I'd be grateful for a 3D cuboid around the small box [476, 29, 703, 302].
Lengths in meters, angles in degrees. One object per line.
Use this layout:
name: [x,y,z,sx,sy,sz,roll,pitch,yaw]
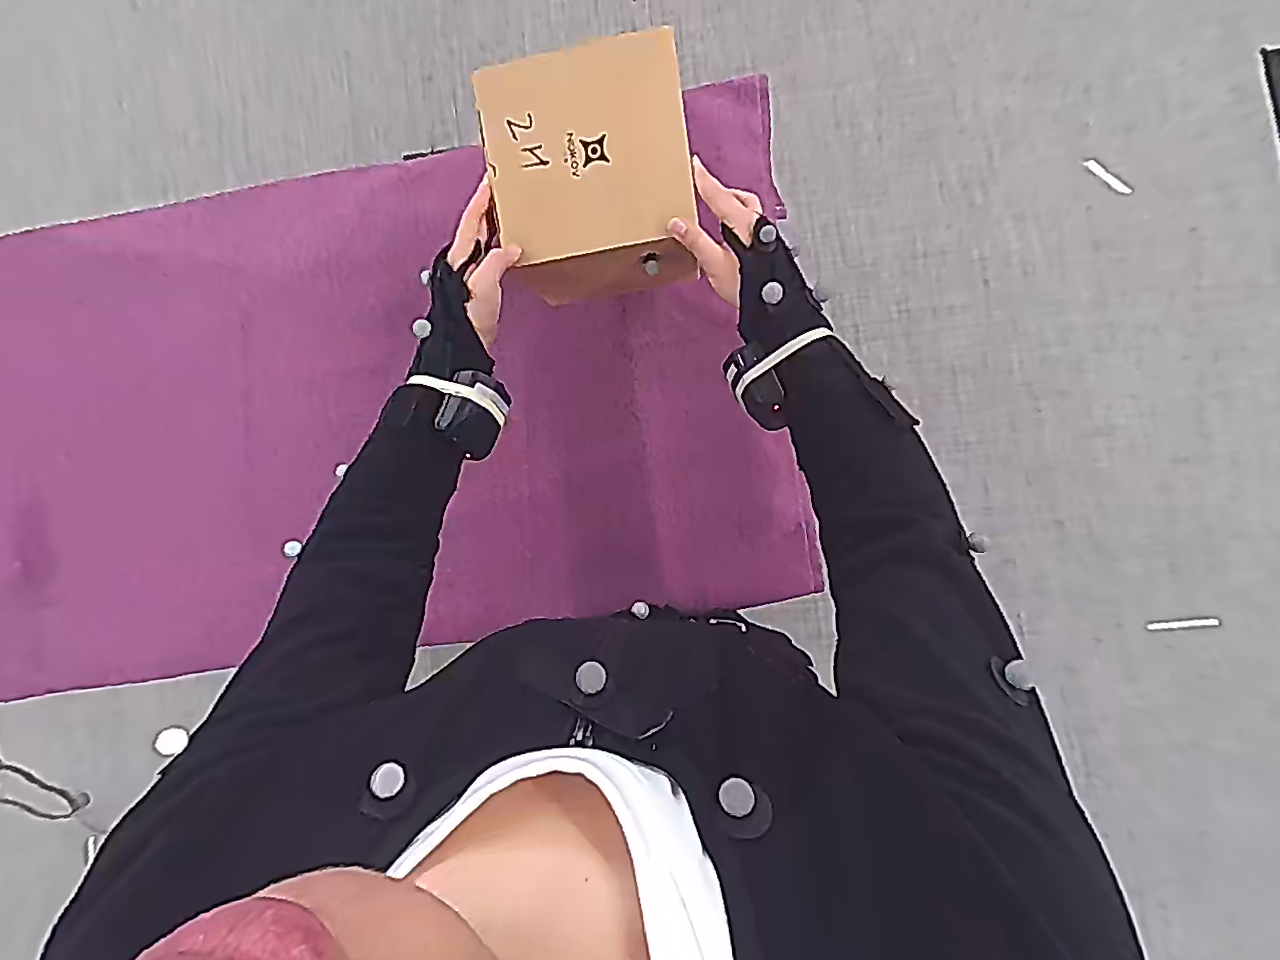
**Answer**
small box: [-0.036,-0.286,0.534,0.179,0.176,0.168,-7,95,7]
